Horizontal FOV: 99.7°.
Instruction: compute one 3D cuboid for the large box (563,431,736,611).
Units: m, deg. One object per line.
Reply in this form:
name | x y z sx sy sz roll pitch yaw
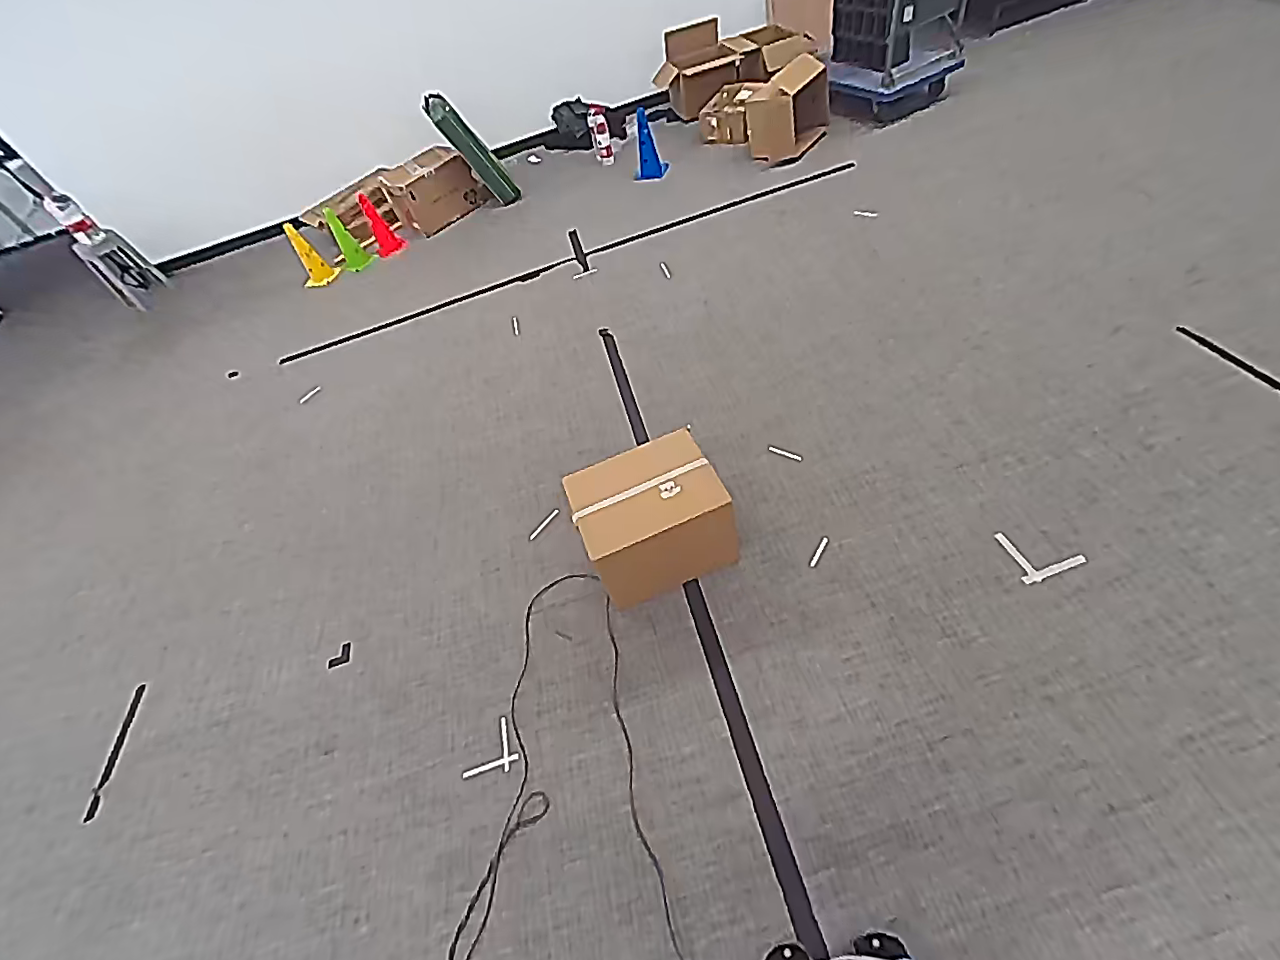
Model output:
large box | 0.034 0.126 1.609 0.408 0.320 0.320 -23 51 -5
